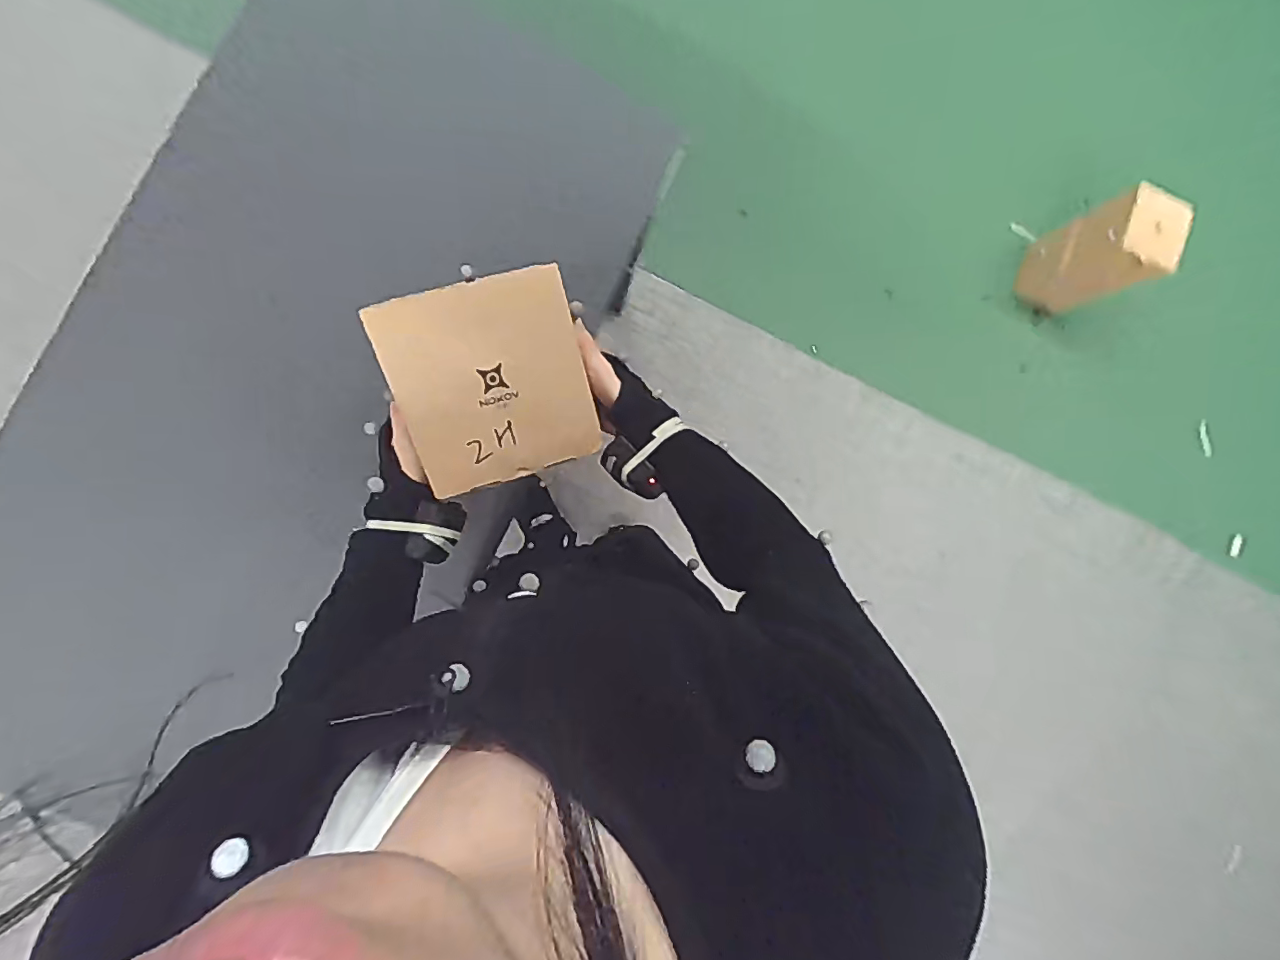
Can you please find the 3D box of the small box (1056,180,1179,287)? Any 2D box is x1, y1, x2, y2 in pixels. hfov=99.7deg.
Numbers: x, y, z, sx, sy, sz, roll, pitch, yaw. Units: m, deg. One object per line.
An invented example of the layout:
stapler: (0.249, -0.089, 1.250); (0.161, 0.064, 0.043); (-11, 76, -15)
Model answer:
small box: (1.274, -0.654, 1.455); (0.168, 0.176, 0.179); (20, 87, -8)

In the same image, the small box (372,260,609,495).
small box: (-0.142, -0.112, 0.542); (0.168, 0.176, 0.179); (-16, 114, -9)
